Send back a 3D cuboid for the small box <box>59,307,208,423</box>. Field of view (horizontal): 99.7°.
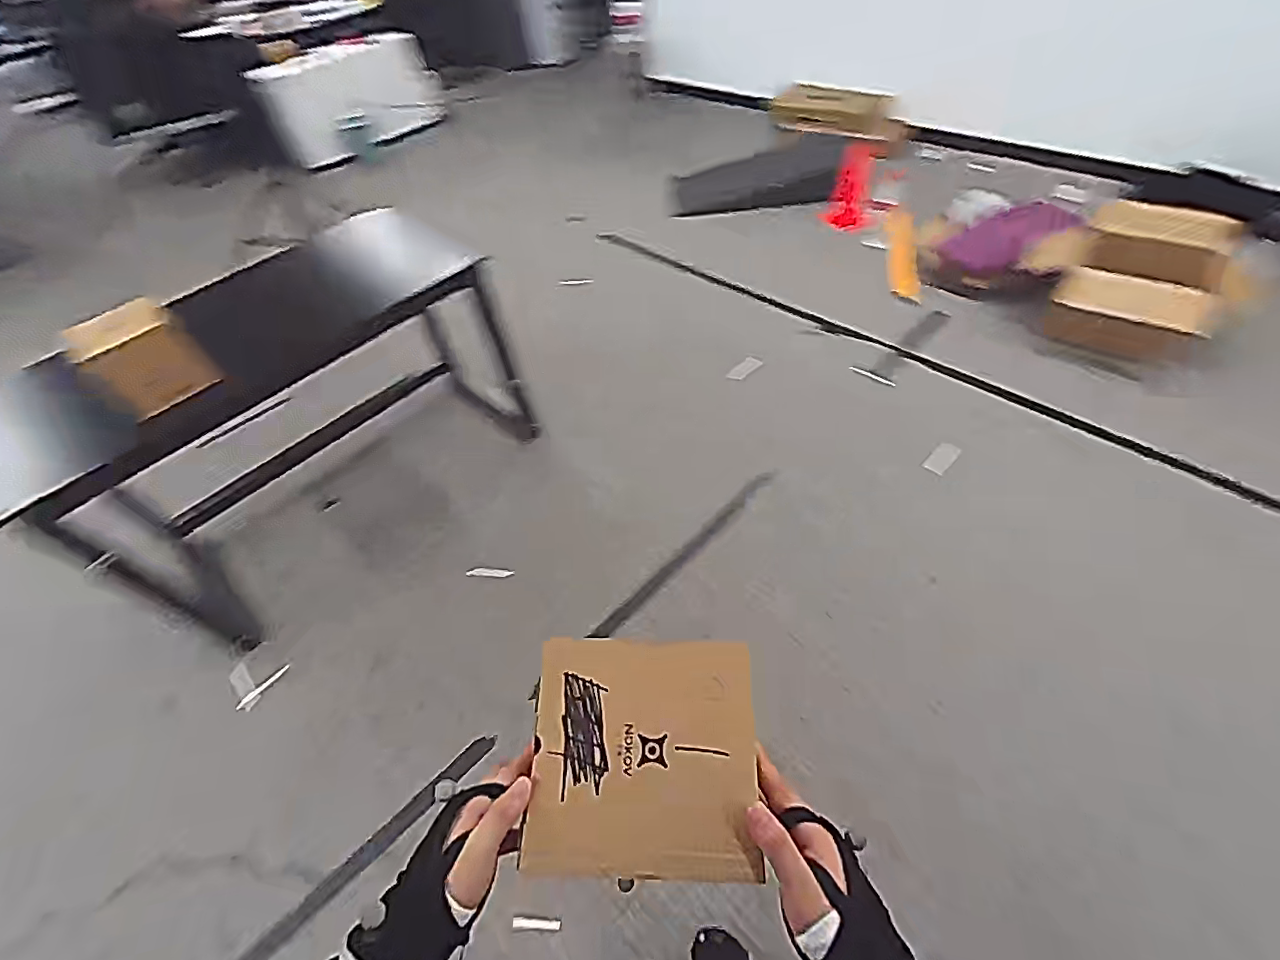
[{"bbox_3d":[-1.139,-0.256,1.228,0.179,0.176,0.168,33,62,30],"label":"small box"}]

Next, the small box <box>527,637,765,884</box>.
[{"bbox_3d":[0.016,0.248,0.493,0.179,0.176,0.168,0,62,6],"label":"small box"}]
